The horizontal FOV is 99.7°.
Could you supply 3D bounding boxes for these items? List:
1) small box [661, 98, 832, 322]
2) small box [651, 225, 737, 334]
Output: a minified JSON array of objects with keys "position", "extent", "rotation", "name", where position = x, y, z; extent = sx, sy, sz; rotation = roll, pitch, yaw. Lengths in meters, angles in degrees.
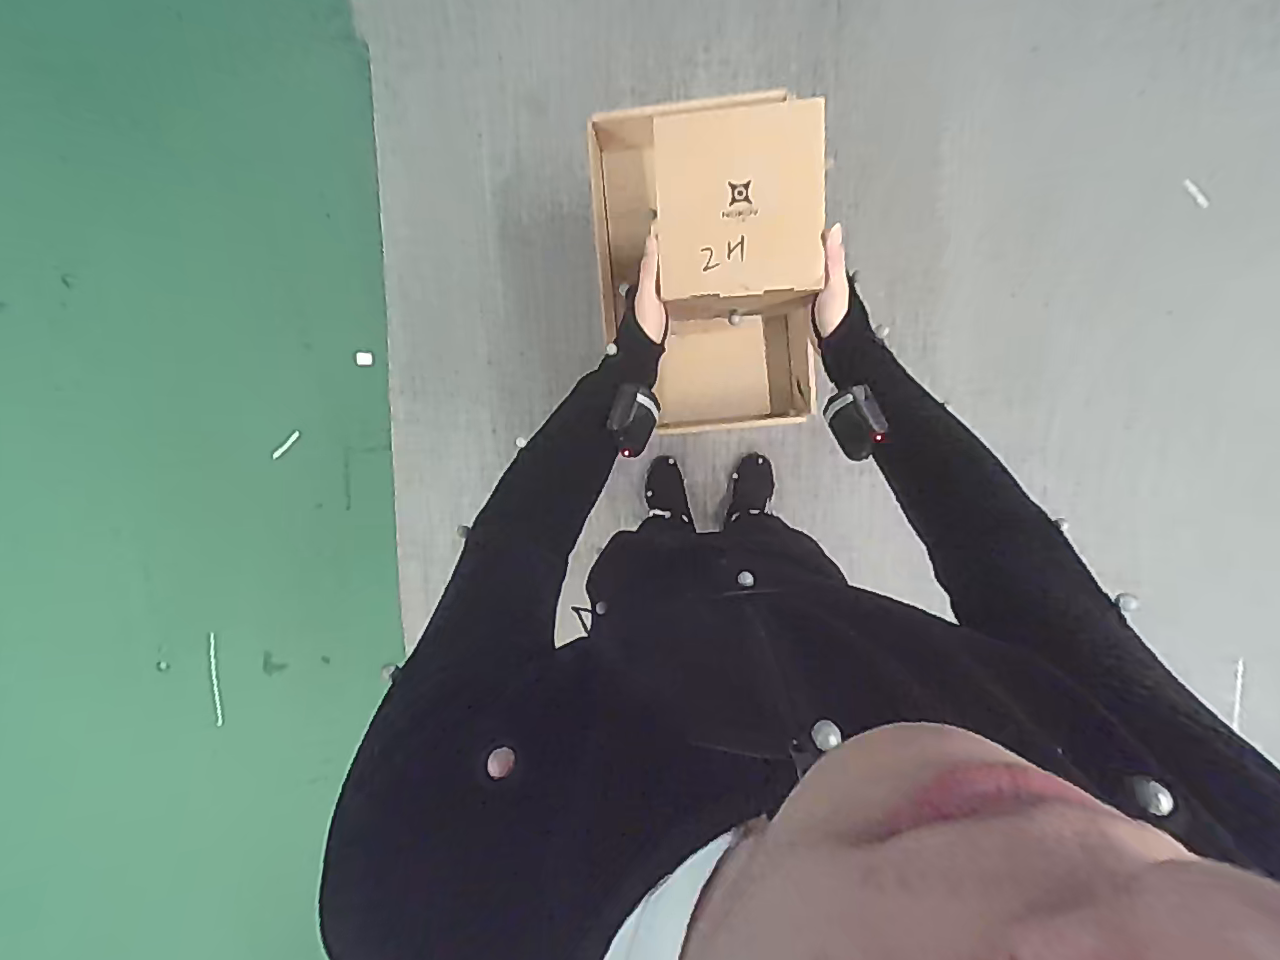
[{"position":[0.111,-0.282,0.604],"extent":[0.168,0.176,0.179],"rotation":[-2,98,7],"name":"small box"},{"position":[0.111,-0.394,1.080],"extent":[0.168,0.176,0.179],"rotation":[-3,93,3],"name":"small box"}]
